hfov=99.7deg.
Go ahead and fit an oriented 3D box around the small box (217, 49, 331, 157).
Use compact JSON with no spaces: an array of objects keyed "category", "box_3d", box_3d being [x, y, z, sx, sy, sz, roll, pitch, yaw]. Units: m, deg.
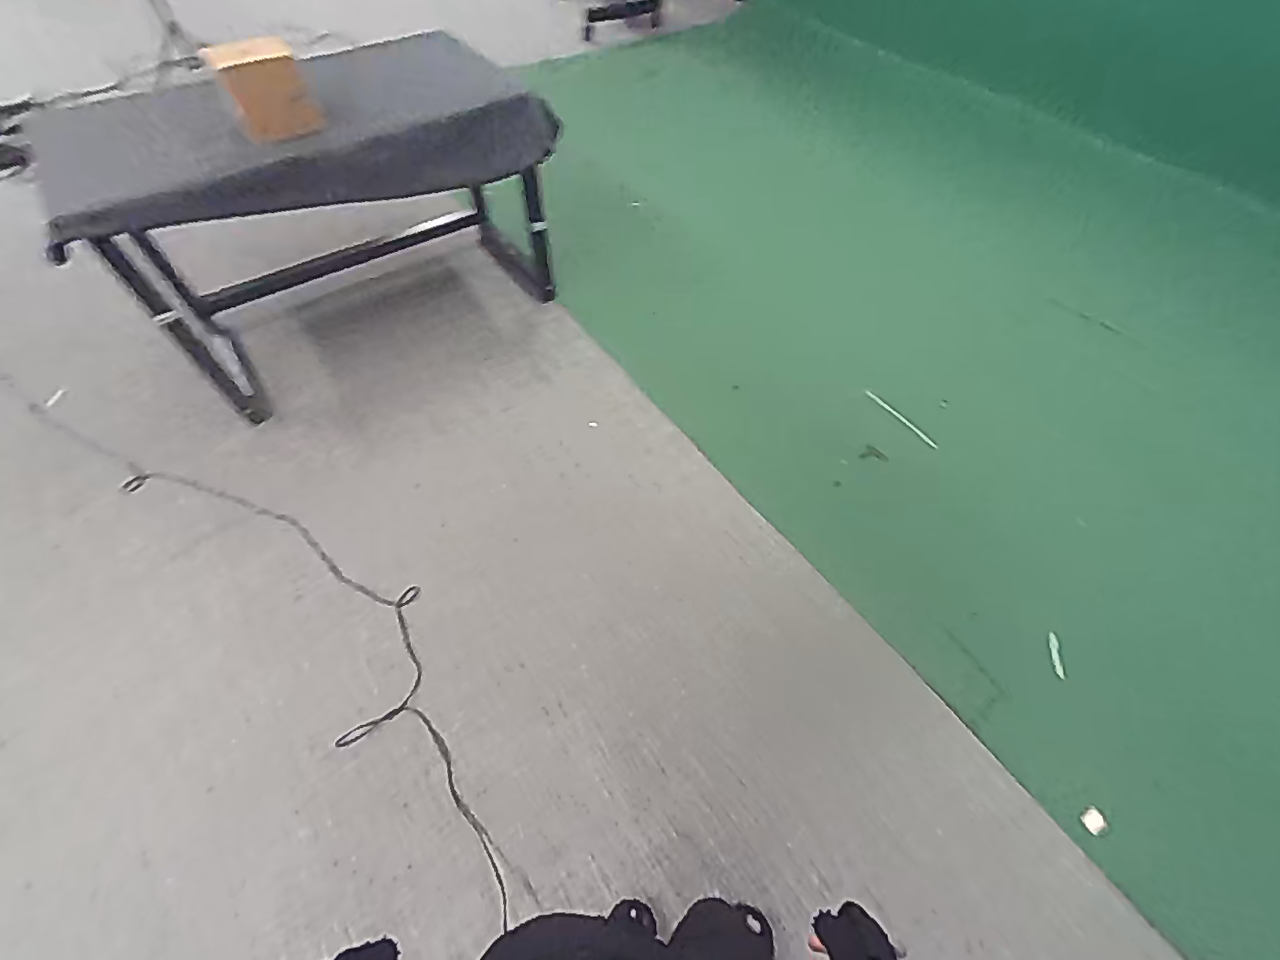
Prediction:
[{"category":"small box","box_3d":[-0.931,-0.970,1.393,0.179,0.176,0.168,-32,59,-20]}]
